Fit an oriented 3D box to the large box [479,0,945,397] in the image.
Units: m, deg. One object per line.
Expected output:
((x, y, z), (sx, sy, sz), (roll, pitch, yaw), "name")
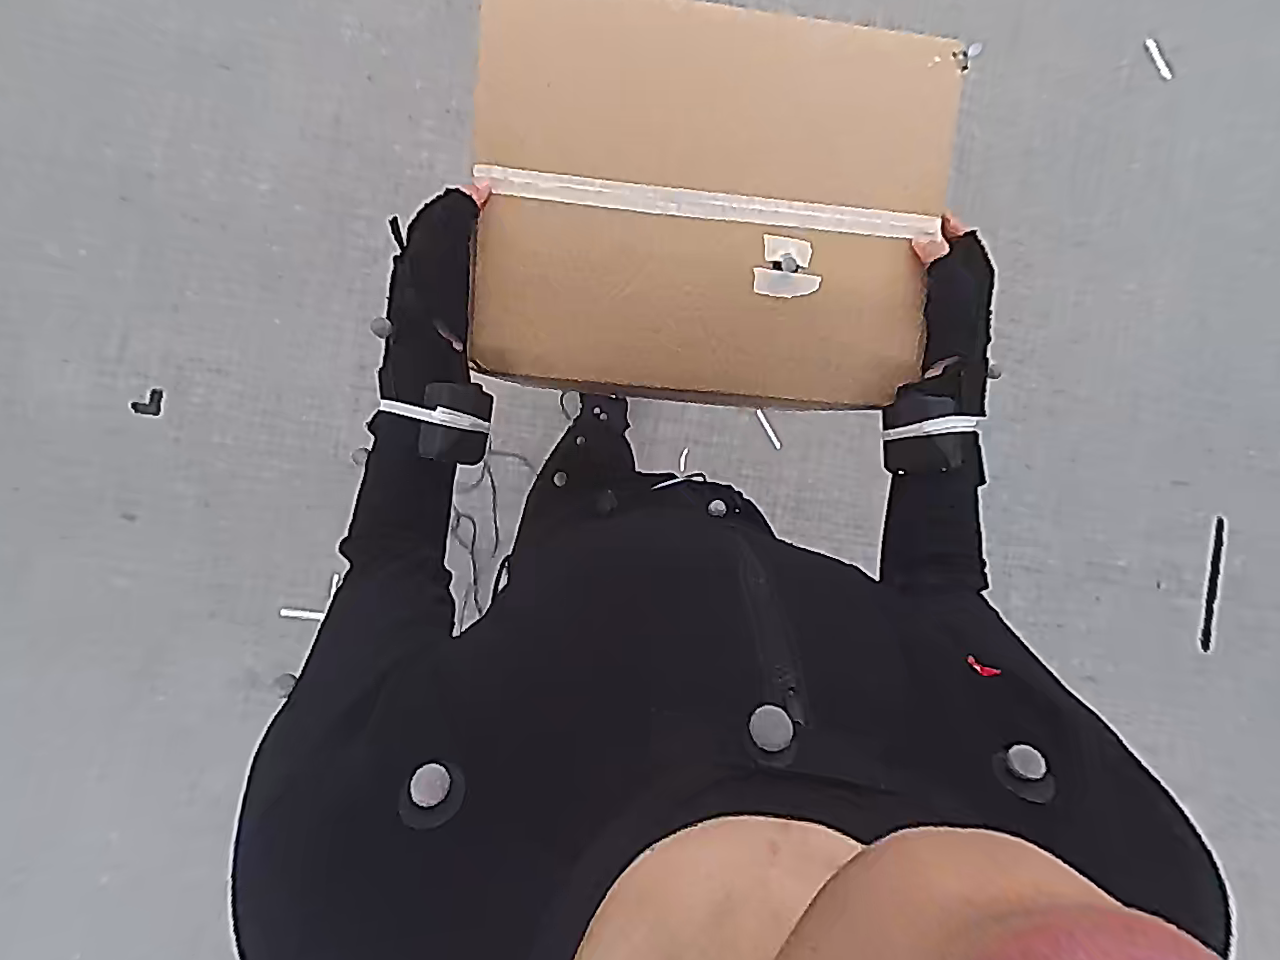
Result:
((0.049, -0.268, 0.625), (0.408, 0.320, 0.320), (5, 98, -5), "large box")
